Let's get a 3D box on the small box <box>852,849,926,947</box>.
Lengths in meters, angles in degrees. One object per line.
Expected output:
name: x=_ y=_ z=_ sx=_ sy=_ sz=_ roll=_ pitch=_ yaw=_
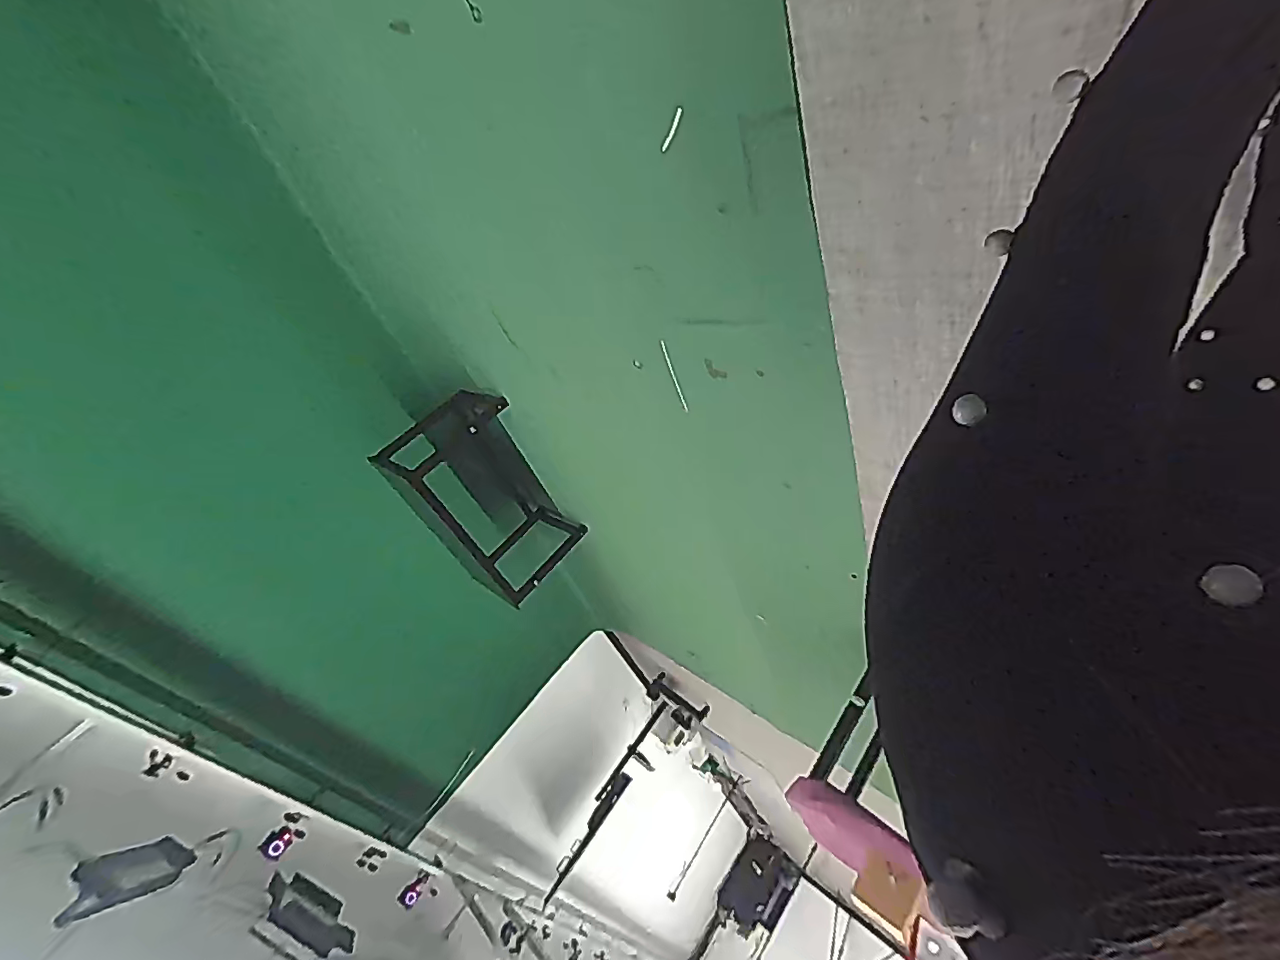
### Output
small box: x=0.807 y=1.344 z=1.743 sx=0.168 sy=0.176 sz=0.179 roll=18 pitch=145 yaw=42
